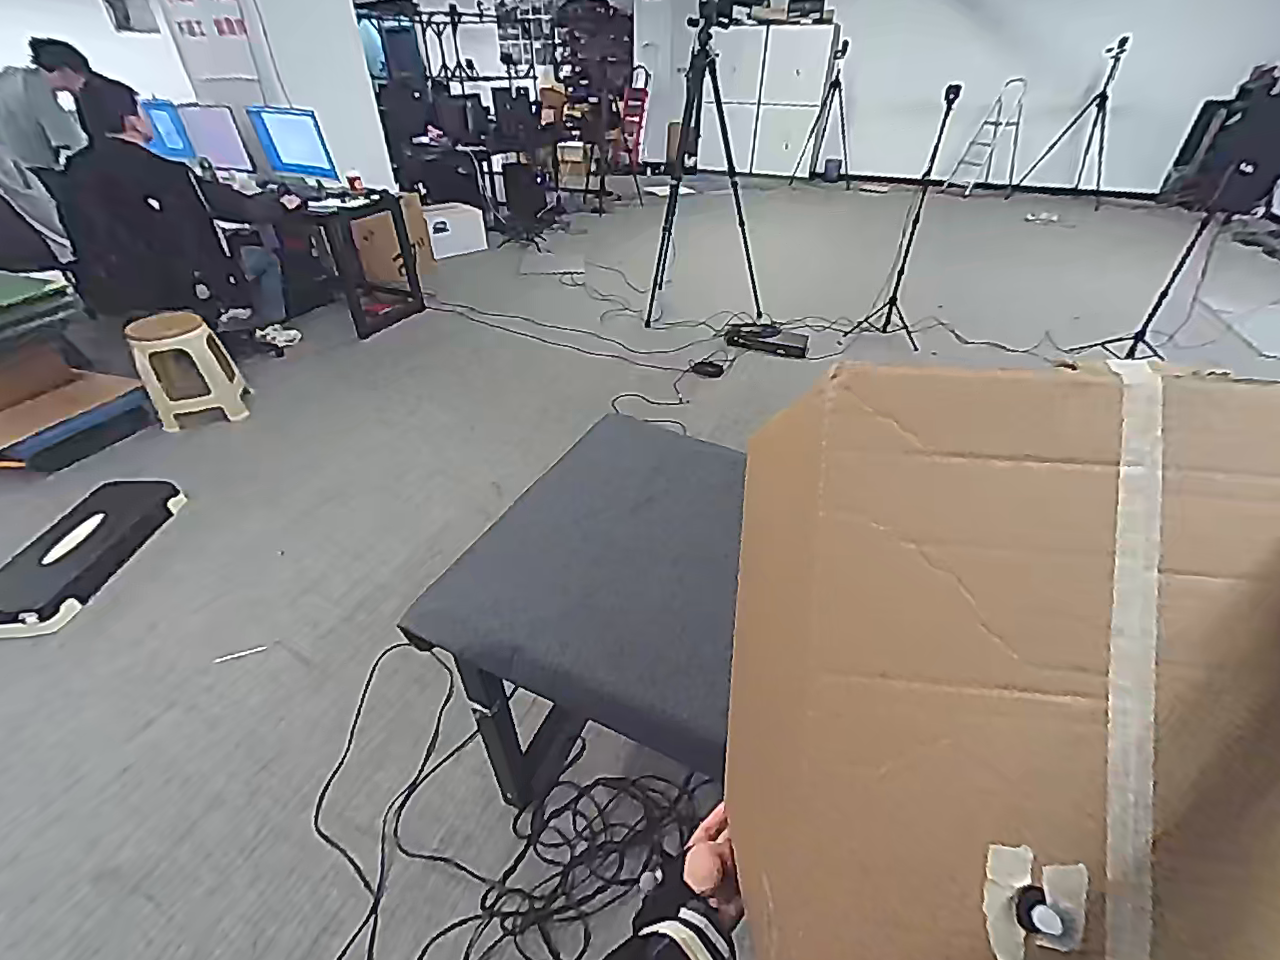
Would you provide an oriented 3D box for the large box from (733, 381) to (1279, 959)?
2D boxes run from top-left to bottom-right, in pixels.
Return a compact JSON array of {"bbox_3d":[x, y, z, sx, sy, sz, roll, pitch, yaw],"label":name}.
[{"bbox_3d":[0.255,0.147,0.441,0.320,0.408,0.320,3,-1,3],"label":"large box"}]
